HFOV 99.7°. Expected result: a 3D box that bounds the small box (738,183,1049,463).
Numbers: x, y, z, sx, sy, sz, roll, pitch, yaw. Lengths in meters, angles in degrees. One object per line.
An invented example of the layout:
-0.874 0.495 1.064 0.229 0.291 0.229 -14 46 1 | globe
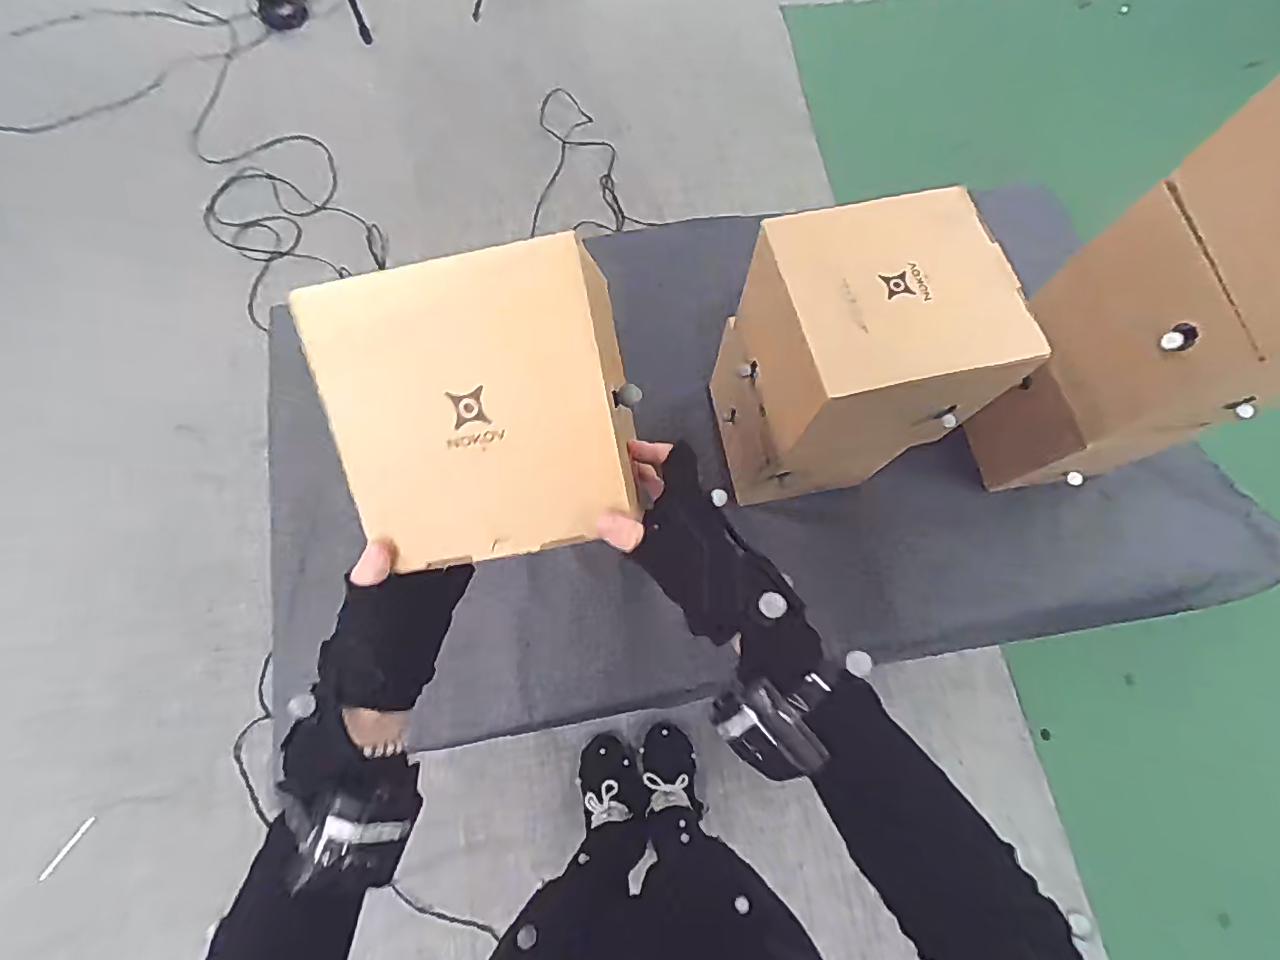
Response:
0.204 -0.129 0.494 0.179 0.176 0.168 -11 72 -3 | small box

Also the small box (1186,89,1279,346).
0.523 -0.201 0.343 0.168 0.176 0.179 -5 72 -1 | small box

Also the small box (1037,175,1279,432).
0.524 -0.154 0.500 0.168 0.176 0.179 -7 73 -2 | small box
